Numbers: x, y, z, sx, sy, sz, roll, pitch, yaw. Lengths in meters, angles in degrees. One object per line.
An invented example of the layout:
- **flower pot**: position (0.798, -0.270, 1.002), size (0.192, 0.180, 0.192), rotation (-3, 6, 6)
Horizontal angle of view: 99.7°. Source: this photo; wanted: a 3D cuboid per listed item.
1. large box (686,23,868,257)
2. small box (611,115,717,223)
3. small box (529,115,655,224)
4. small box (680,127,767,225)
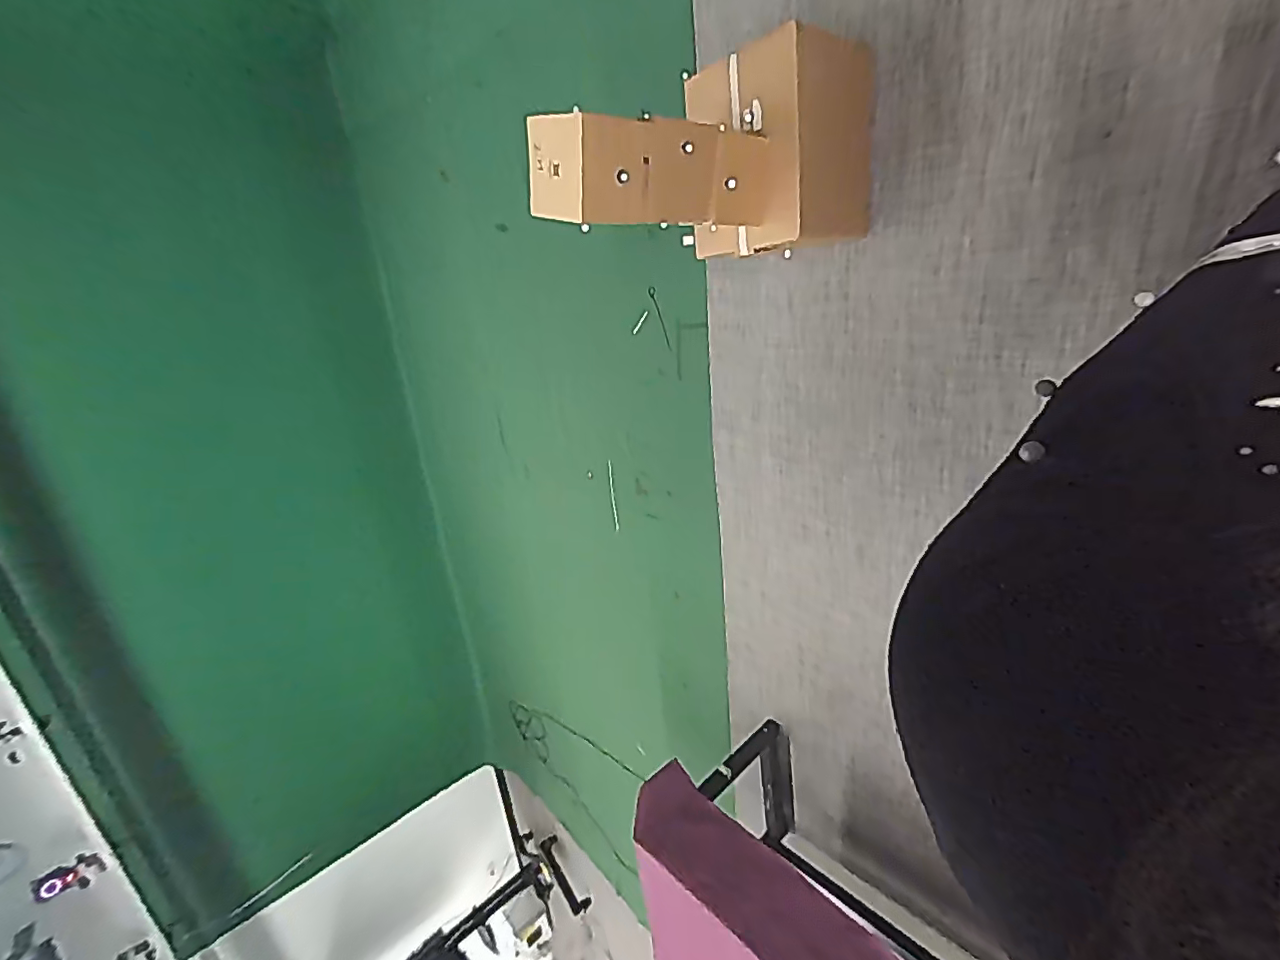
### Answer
- **large box**: position (0.343, -0.788, 1.332), size (0.320, 0.320, 0.408), rotation (14, 116, 47)
- **small box**: position (0.040, -0.632, 1.108), size (0.168, 0.176, 0.179), rotation (31, 130, 40)
- **small box**: position (-0.089, -0.583, 1.017), size (0.179, 0.176, 0.168), rotation (32, 130, 39)
- **small box**: position (0.165, -0.670, 1.206), size (0.168, 0.176, 0.179), rotation (27, 127, 42)
